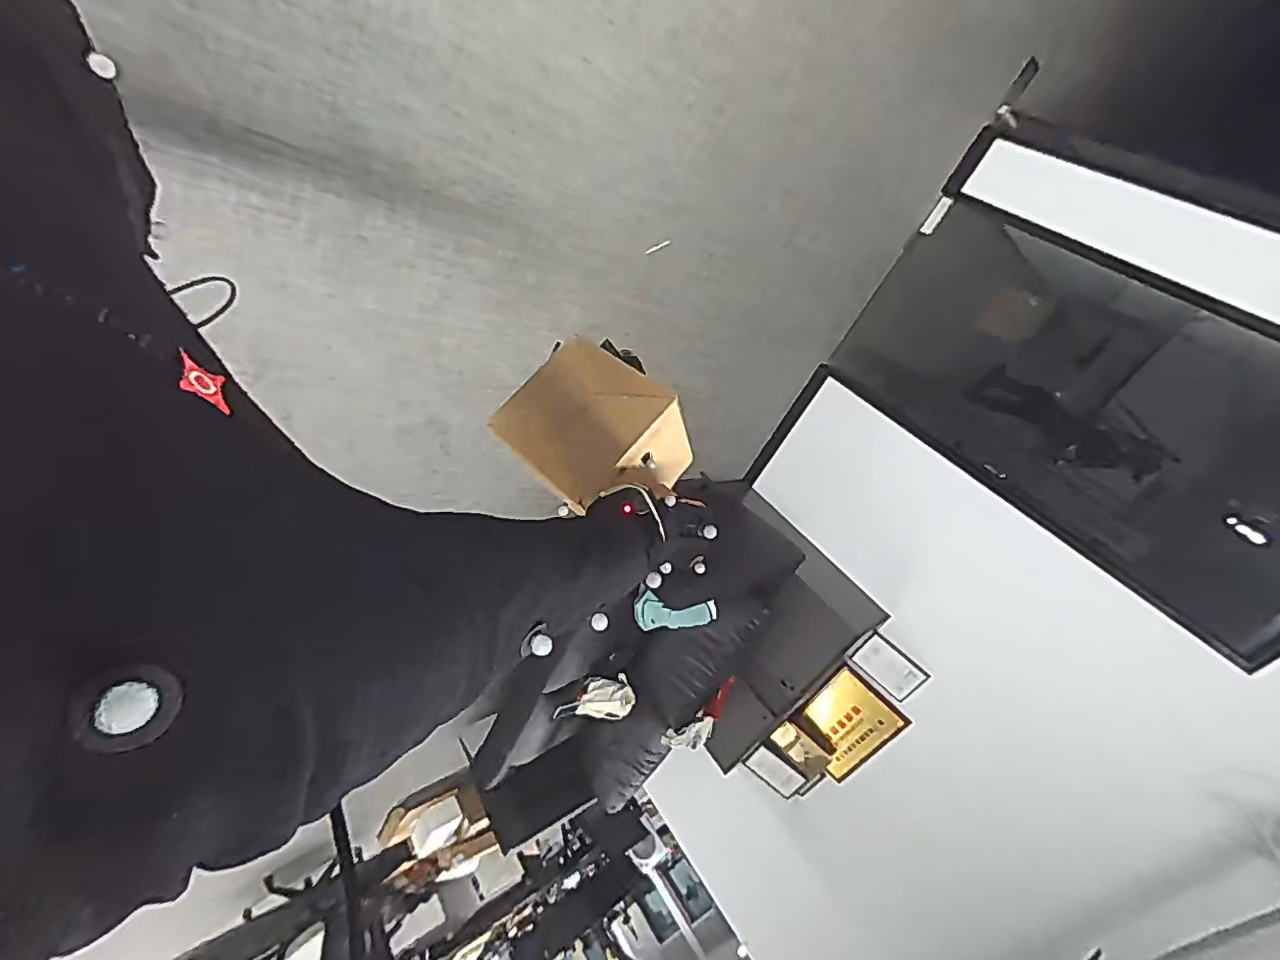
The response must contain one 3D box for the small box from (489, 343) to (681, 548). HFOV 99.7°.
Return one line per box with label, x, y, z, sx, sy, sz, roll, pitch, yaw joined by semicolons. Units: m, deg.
small box;-0.070;-0.045;0.704;0.168;0.179;0.176;-50;155;-10
